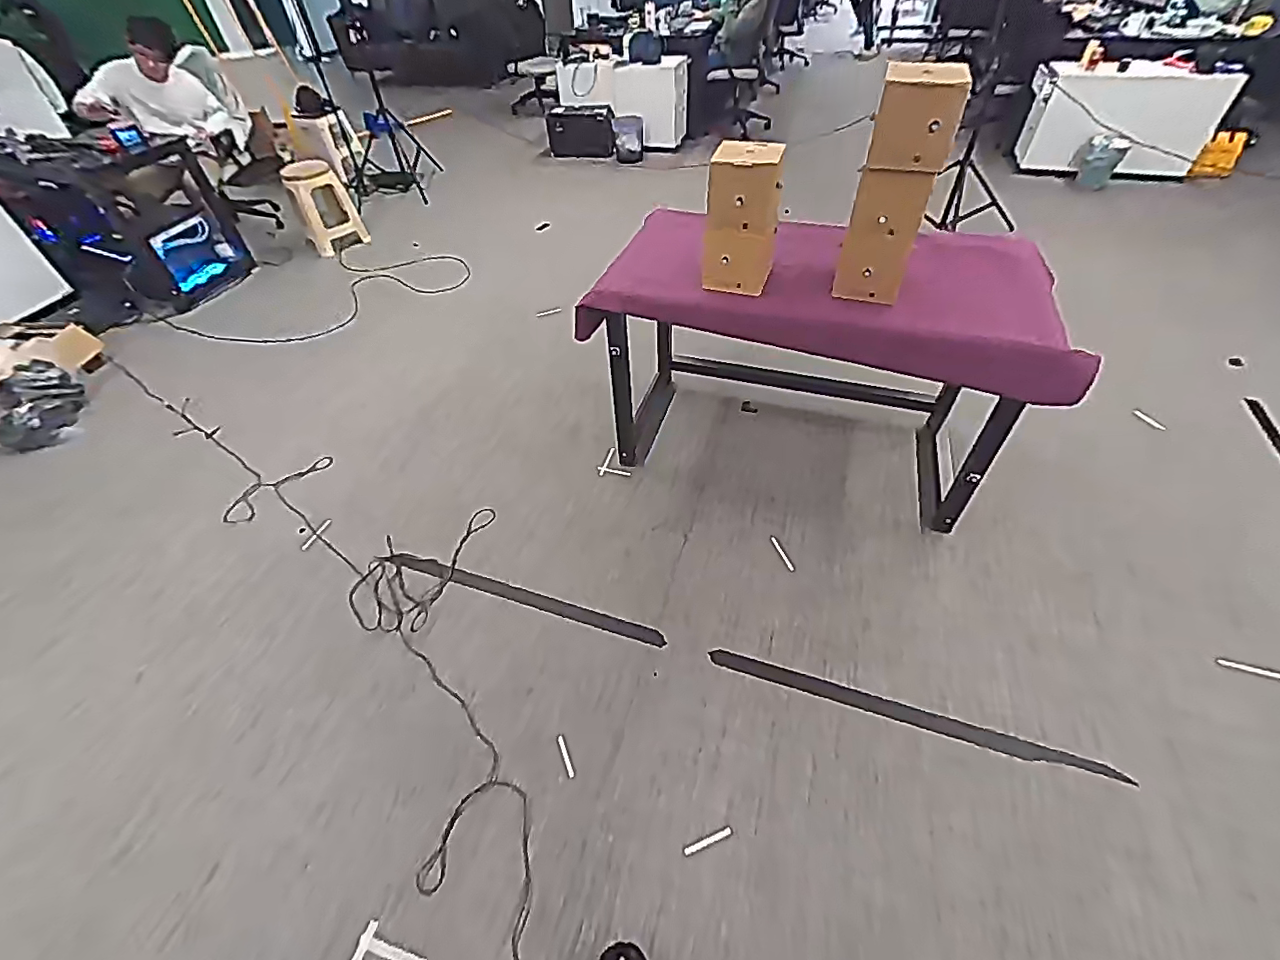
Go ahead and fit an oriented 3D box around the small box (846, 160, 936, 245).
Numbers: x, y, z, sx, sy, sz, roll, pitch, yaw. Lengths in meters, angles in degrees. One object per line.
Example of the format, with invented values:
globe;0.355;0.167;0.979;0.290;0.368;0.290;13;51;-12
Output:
small box;0.623;-0.710;1.345;0.168;0.176;0.179;14;50;16

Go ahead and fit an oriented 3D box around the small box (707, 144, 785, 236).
small box;0.272;-0.753;1.406;0.168;0.176;0.179;12;48;13

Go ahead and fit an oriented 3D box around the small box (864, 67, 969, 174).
small box;0.612;-0.805;1.212;0.168;0.176;0.179;12;48;13

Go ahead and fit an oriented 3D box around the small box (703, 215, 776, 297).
small box;0.277;-0.635;1.520;0.168;0.176;0.179;13;48;15

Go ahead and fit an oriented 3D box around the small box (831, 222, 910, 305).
small box;0.626;-0.596;1.463;0.168;0.176;0.179;15;49;16
